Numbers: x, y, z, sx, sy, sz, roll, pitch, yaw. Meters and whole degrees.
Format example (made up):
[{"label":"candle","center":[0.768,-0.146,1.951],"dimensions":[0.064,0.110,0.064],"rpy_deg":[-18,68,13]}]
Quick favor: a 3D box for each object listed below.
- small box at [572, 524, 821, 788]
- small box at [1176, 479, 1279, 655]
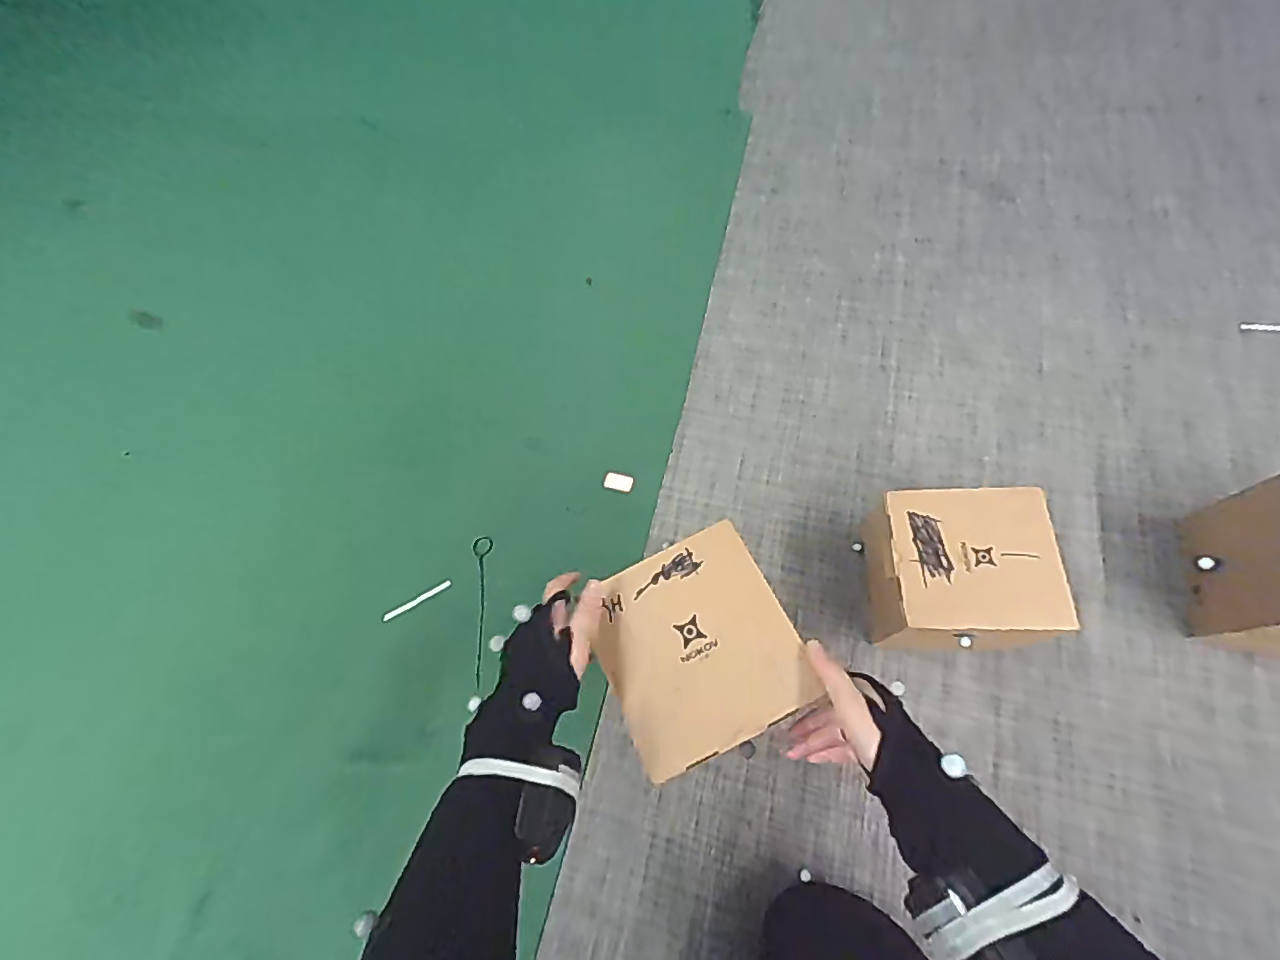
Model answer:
[{"label":"small box","center":[0.056,0.174,0.544],"dimensions":[0.168,0.176,0.179],"rpy_deg":[-26,65,-2]},{"label":"small box","center":[0.780,0.108,0.616],"dimensions":[0.179,0.176,0.168],"rpy_deg":[10,69,14]}]
